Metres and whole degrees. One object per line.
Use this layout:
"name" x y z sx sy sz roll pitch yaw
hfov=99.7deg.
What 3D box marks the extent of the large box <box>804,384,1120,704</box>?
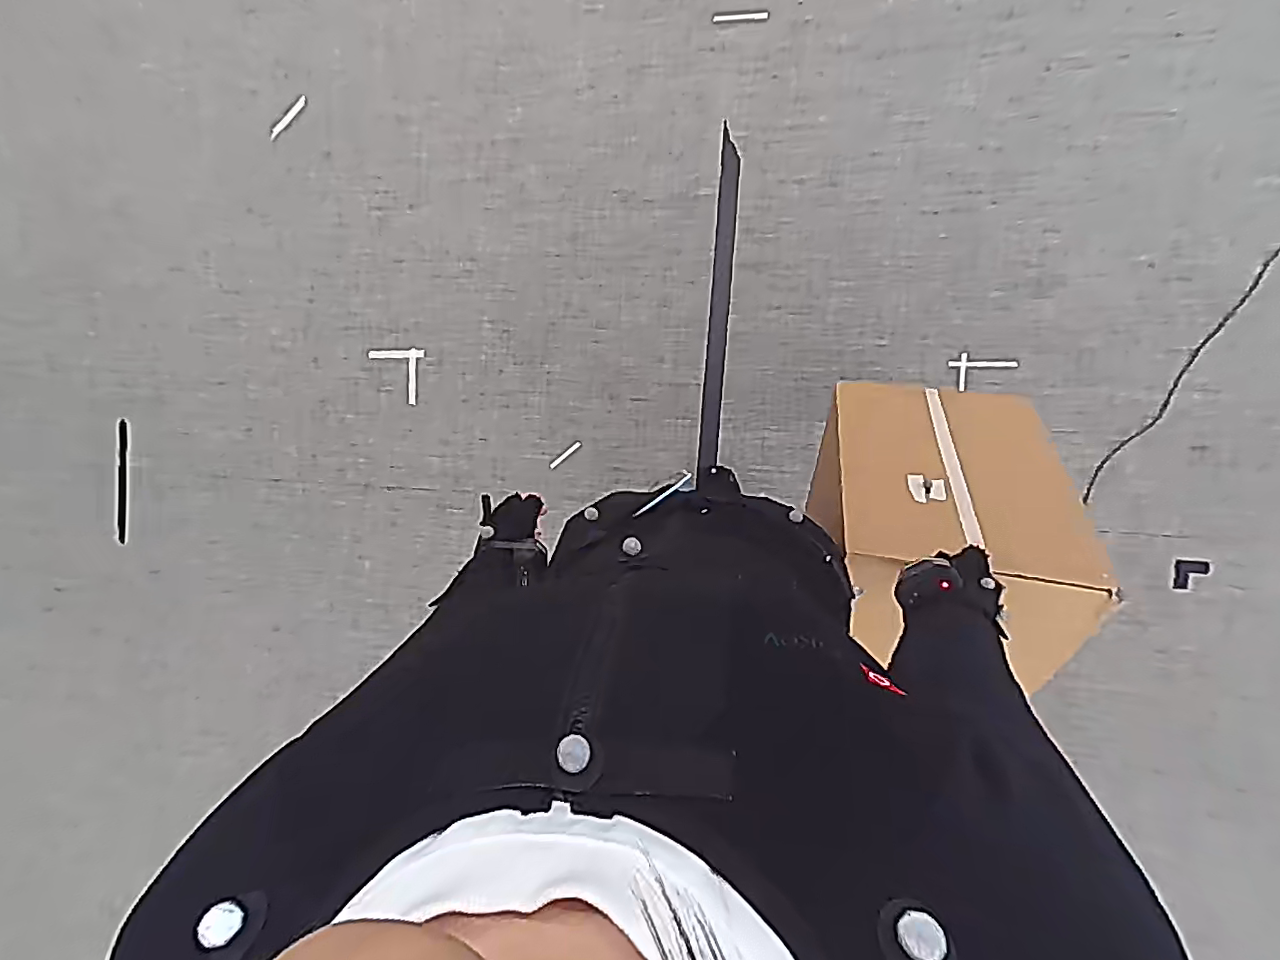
"large box" 0.458 0.090 0.897 0.320 0.408 0.320 7 135 11
